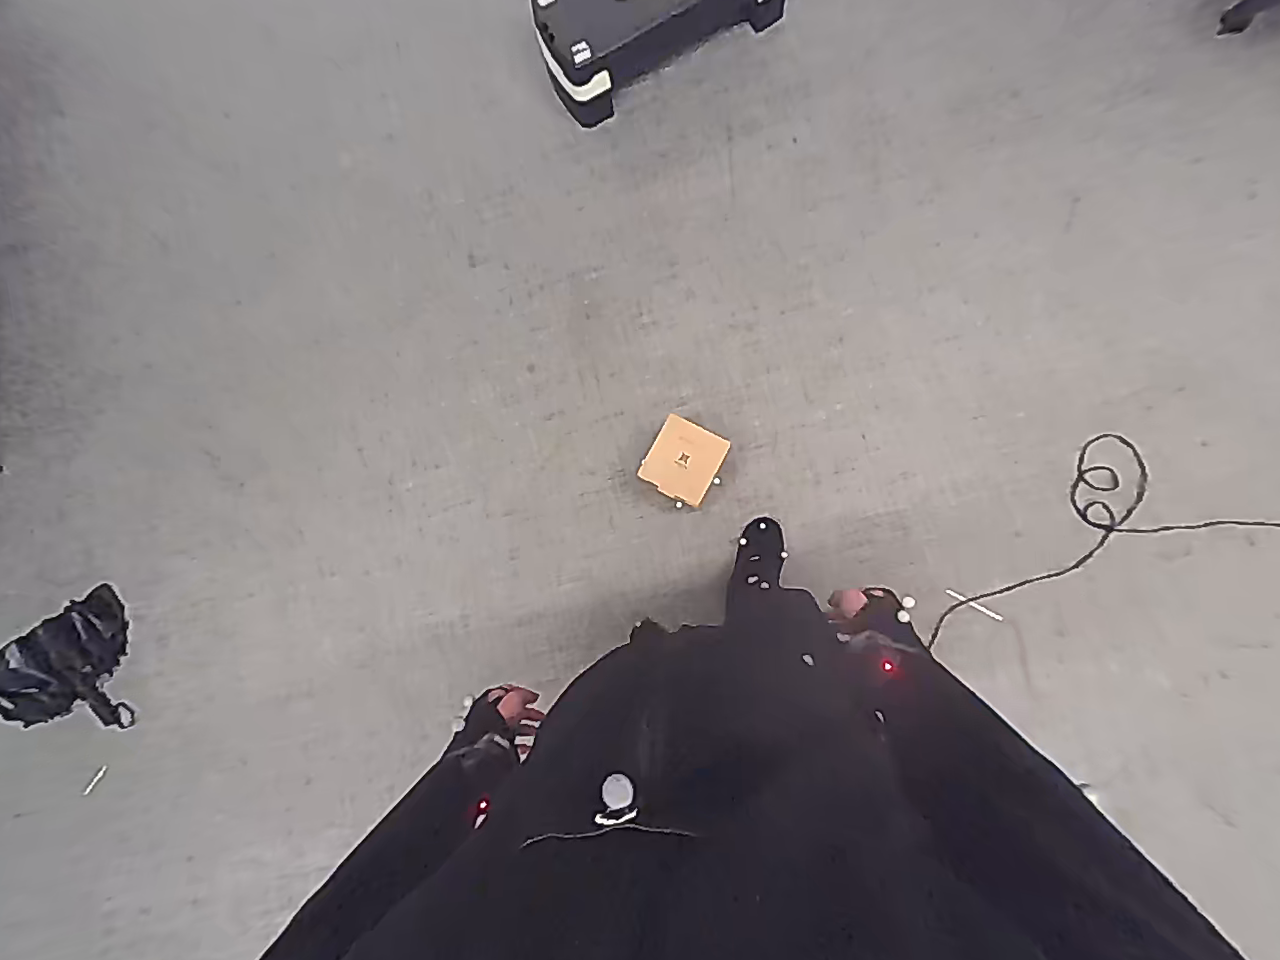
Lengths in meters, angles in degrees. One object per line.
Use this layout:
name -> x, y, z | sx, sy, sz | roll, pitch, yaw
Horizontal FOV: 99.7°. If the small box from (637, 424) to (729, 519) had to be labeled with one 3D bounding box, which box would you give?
small box -> 0.111, -0.012, 1.363 | 0.168, 0.176, 0.179 | 27, 85, 9
